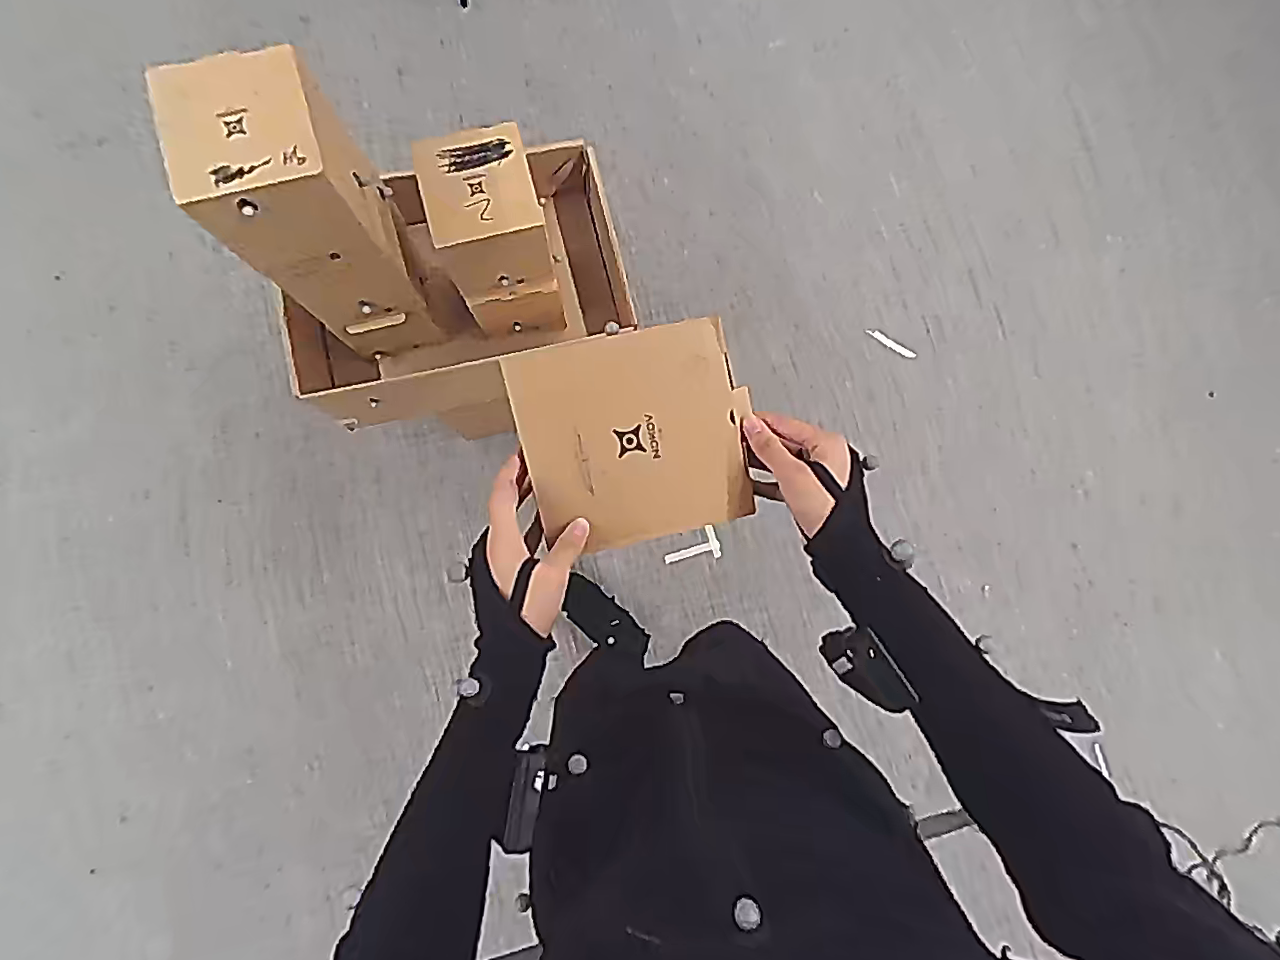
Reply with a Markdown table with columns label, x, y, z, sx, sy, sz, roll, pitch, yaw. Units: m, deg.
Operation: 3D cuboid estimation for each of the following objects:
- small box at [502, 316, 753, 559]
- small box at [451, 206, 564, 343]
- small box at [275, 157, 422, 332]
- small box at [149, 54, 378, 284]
| label | x | y | z | sx | sy | sz | roll | pitch | yaw |
| --- | --- | --- | --- | --- | --- | --- | --- | --- | --- |
| small box | -0.016 | -0.042 | 0.502 | 0.179 | 0.176 | 0.168 | -13 | 97 | -5 |
| small box | -0.248 | -0.388 | 1.042 | 0.168 | 0.176 | 0.179 | -12 | 83 | -4 |
| small box | -0.470 | -0.363 | 0.858 | 0.168 | 0.176 | 0.179 | -16 | 84 | -5 |
| small box | -0.466 | -0.386 | 0.694 | 0.168 | 0.176 | 0.179 | -17 | 82 | -5 |
